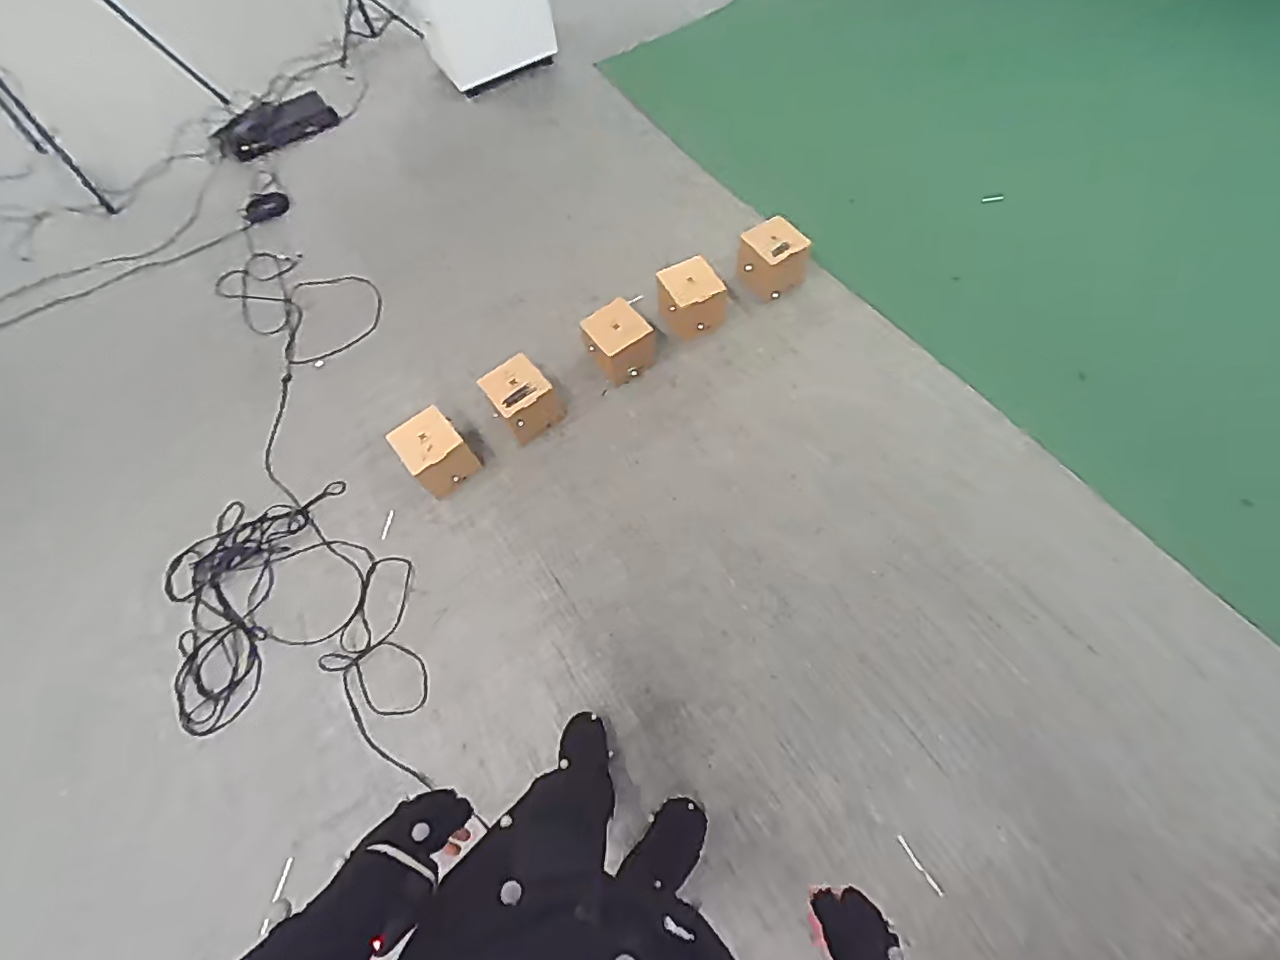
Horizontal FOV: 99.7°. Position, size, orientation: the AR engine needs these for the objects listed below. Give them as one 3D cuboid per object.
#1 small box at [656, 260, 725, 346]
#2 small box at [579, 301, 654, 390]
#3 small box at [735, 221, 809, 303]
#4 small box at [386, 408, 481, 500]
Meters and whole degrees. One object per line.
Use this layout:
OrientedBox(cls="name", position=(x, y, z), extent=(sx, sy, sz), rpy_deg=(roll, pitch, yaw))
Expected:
OrientedBox(cls="small box", position=(0.162, -0.577, 1.775), extent=(0.168, 0.176, 0.179), rpy_deg=(-26, 65, -8))
OrientedBox(cls="small box", position=(-0.070, -0.421, 1.716), extent=(0.168, 0.176, 0.179), rpy_deg=(-35, 67, -10))
OrientedBox(cls="small box", position=(0.439, -0.727, 1.827), extent=(0.168, 0.176, 0.179), rpy_deg=(-30, 64, -10))
OrientedBox(cls="small box", position=(-0.599, -0.071, 1.586), extent=(0.168, 0.176, 0.179), rpy_deg=(-38, 67, -12))
